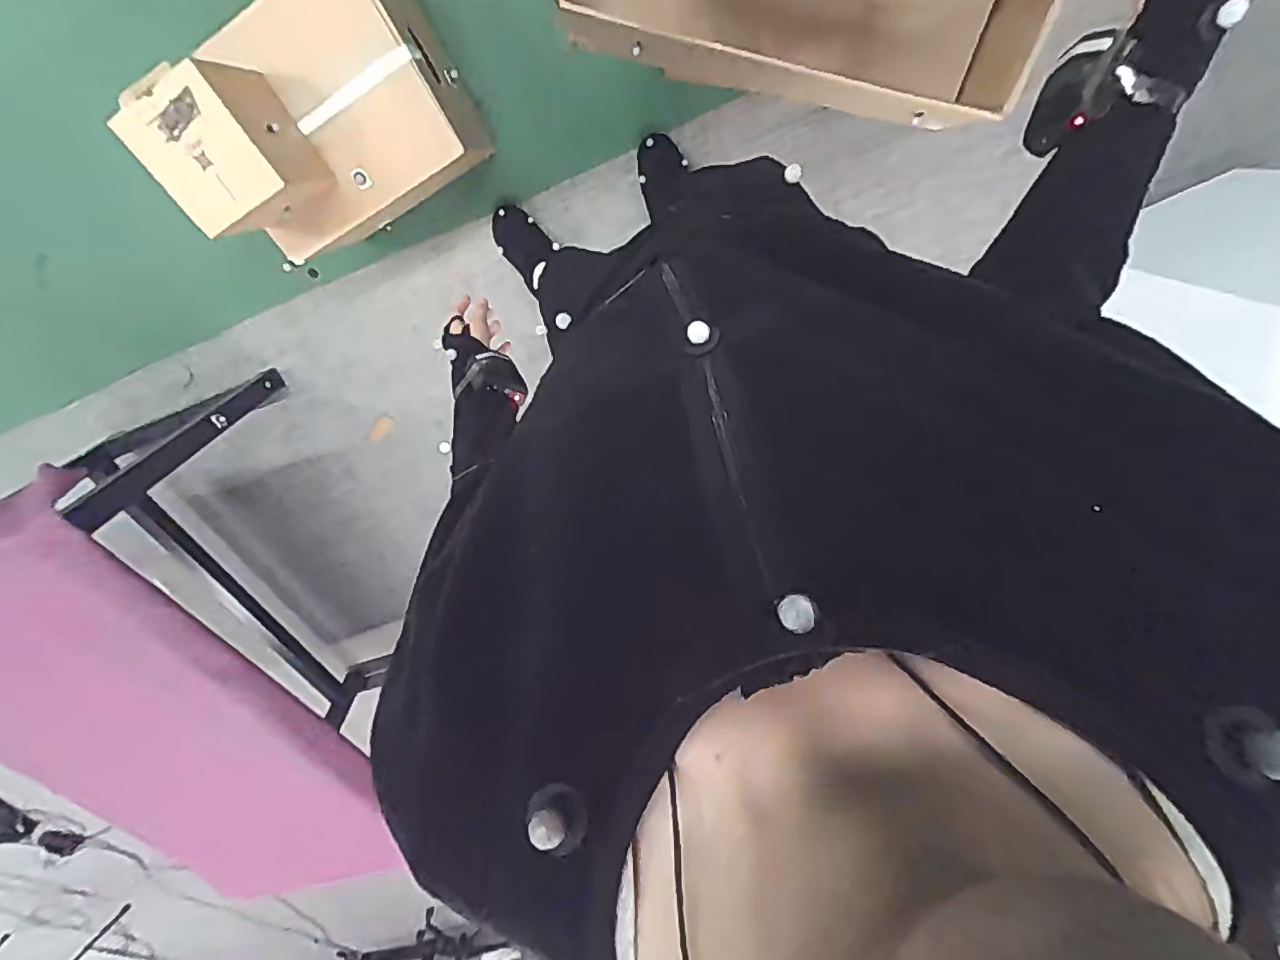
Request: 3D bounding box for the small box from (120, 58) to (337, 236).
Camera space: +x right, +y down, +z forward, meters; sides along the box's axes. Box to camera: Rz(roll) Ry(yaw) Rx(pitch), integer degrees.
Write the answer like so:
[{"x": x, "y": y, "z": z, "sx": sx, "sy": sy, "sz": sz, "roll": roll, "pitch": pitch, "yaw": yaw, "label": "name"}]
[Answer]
[{"x": -0.634, "y": -0.519, "z": 0.860, "sx": 0.168, "sy": 0.176, "sz": 0.179, "roll": -24, "pitch": 119, "yaw": 13, "label": "small box"}]
